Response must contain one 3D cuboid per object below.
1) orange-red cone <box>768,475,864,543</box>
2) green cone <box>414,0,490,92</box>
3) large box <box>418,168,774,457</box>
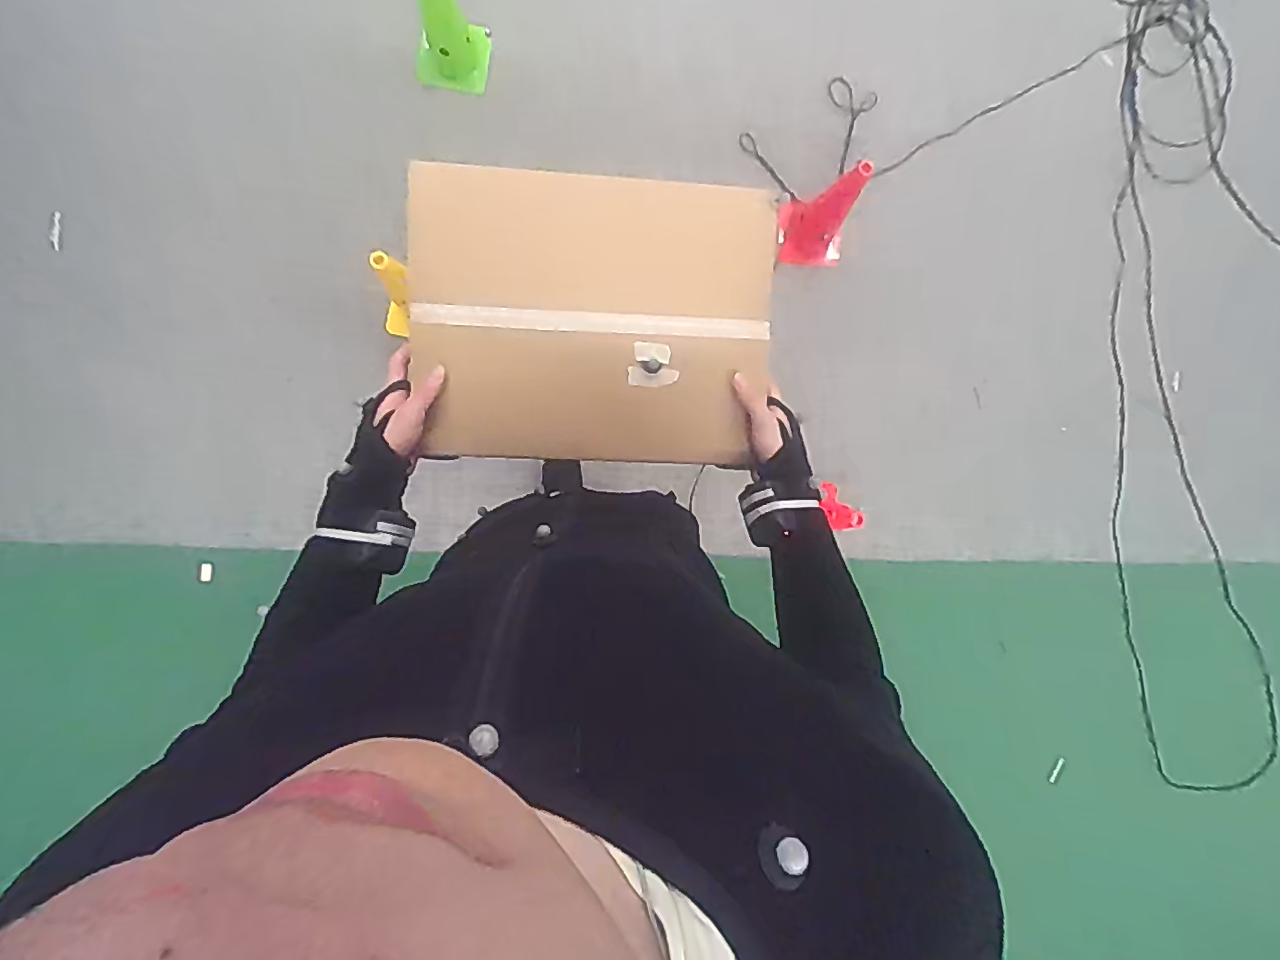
[{"bbox_3d":[0.528,0.097,1.524,0.199,0.360,0.198,9,91,-7],"label":"orange-red cone"},{"bbox_3d":[-0.539,-1.252,1.419,0.200,0.368,0.202,8,91,-5],"label":"green cone"},{"bbox_3d":[-0.062,-0.201,0.766,0.408,0.320,0.320,1,98,-6],"label":"large box"}]
